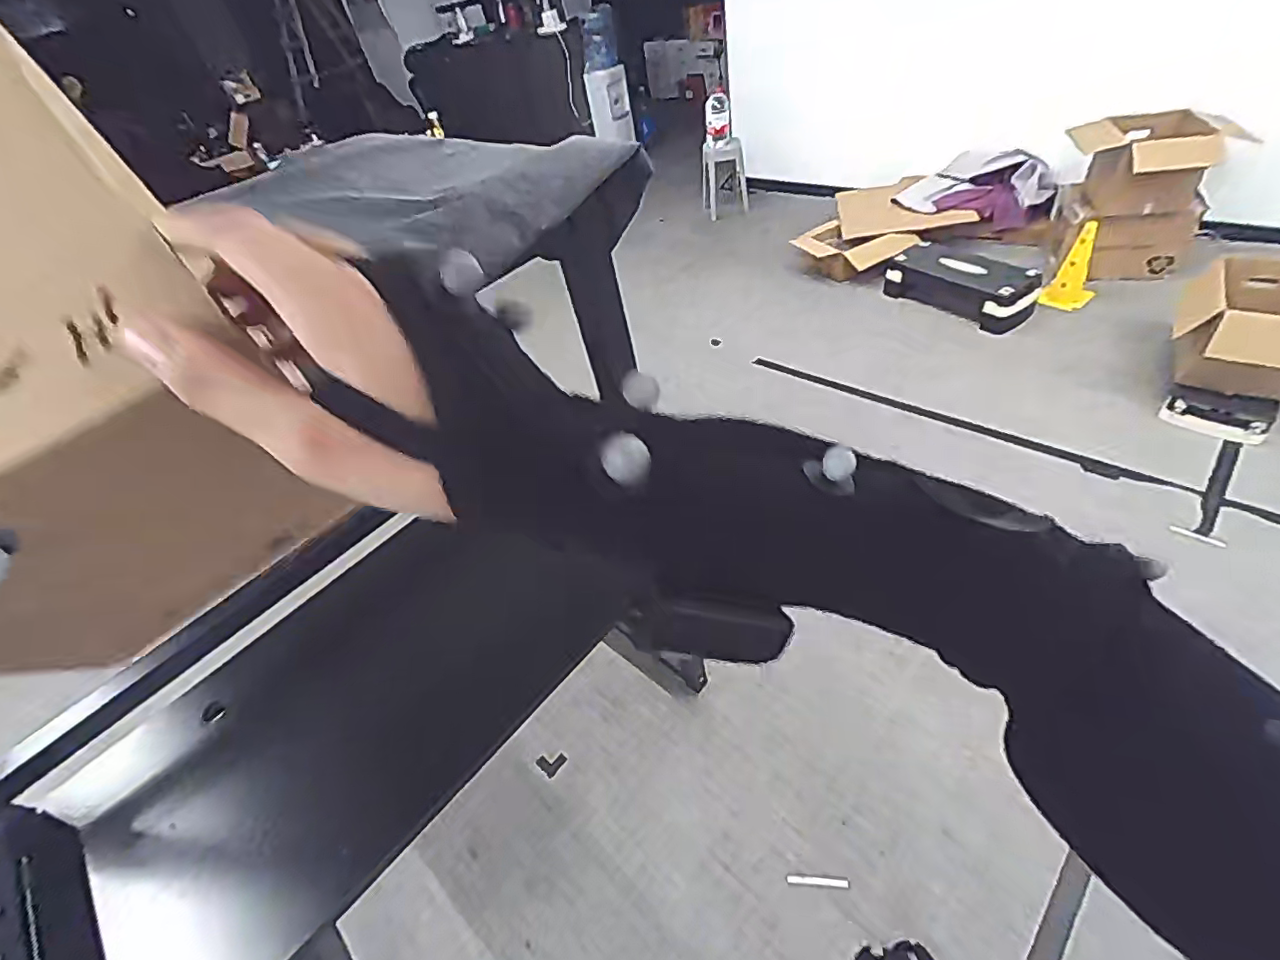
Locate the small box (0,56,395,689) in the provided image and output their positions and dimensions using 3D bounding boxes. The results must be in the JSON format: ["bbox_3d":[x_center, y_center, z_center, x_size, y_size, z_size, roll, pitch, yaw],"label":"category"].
[{"bbox_3d":[-0.245,-0.025,0.240,0.168,0.176,0.179,-38,81,-18],"label":"small box"}]
